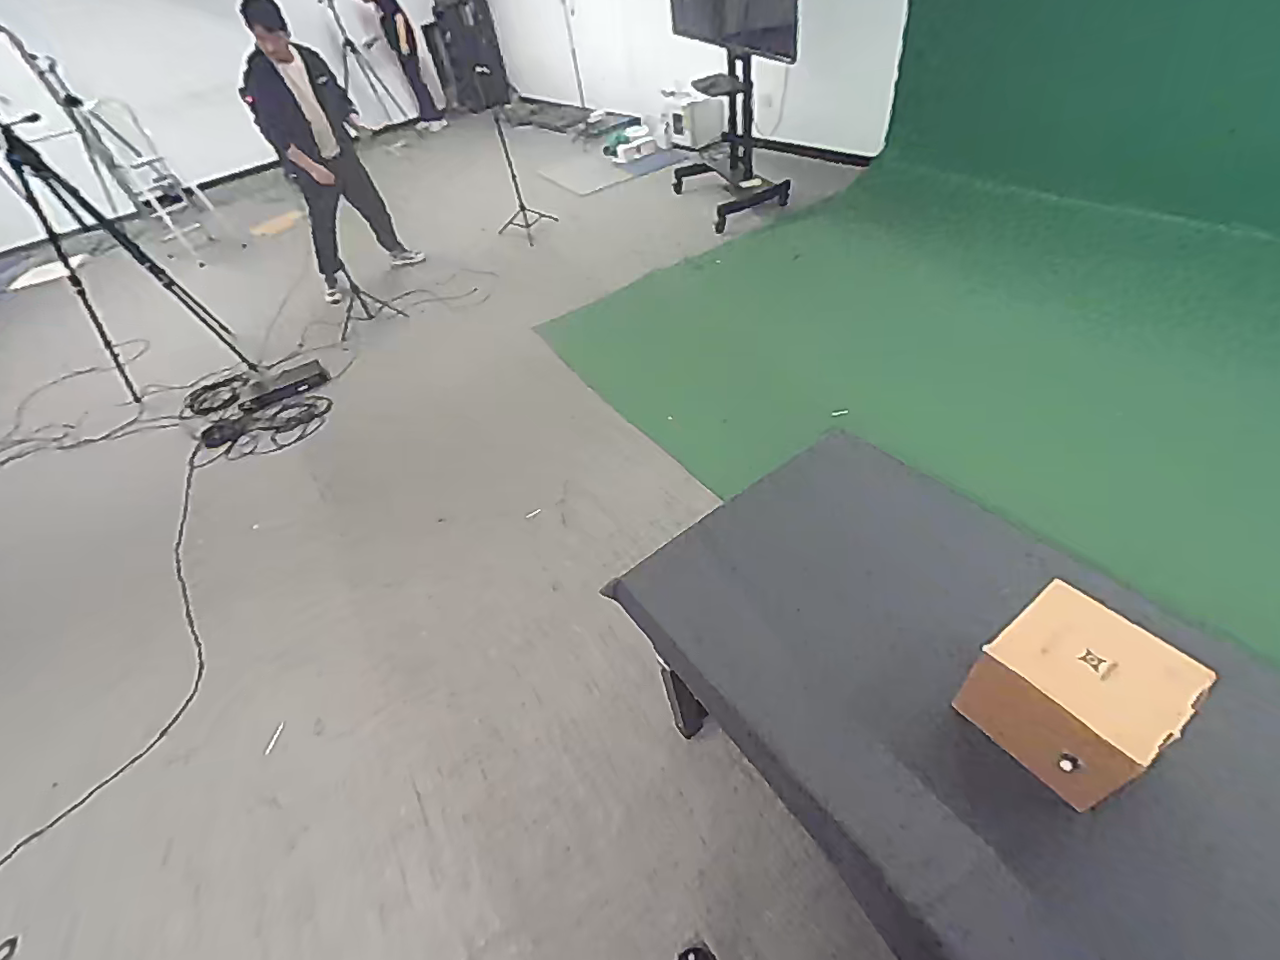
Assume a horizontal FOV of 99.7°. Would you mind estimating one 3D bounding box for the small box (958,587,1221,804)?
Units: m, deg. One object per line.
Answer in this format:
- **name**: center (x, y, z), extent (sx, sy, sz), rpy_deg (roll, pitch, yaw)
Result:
- **small box**: center (0.554, 0.280, 0.693), extent (0.168, 0.176, 0.179), rpy_deg (-31, 47, -20)
